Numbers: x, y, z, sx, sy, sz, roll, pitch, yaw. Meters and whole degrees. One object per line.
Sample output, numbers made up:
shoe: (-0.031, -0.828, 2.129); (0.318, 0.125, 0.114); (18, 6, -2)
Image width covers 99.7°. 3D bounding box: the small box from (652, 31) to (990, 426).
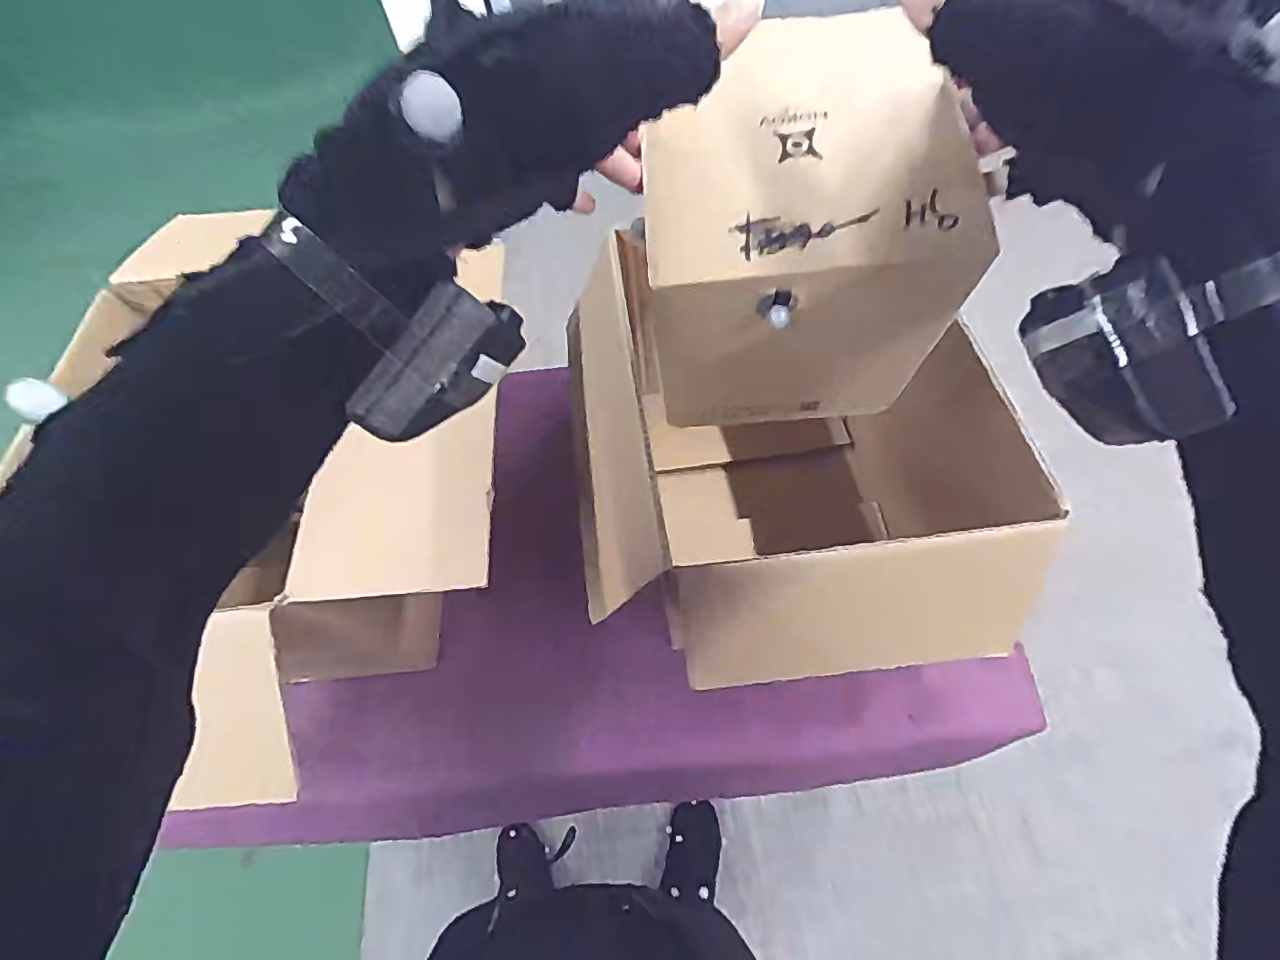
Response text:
small box: (0.097, -0.155, 0.374); (0.168, 0.176, 0.179); (-4, 70, 6)
